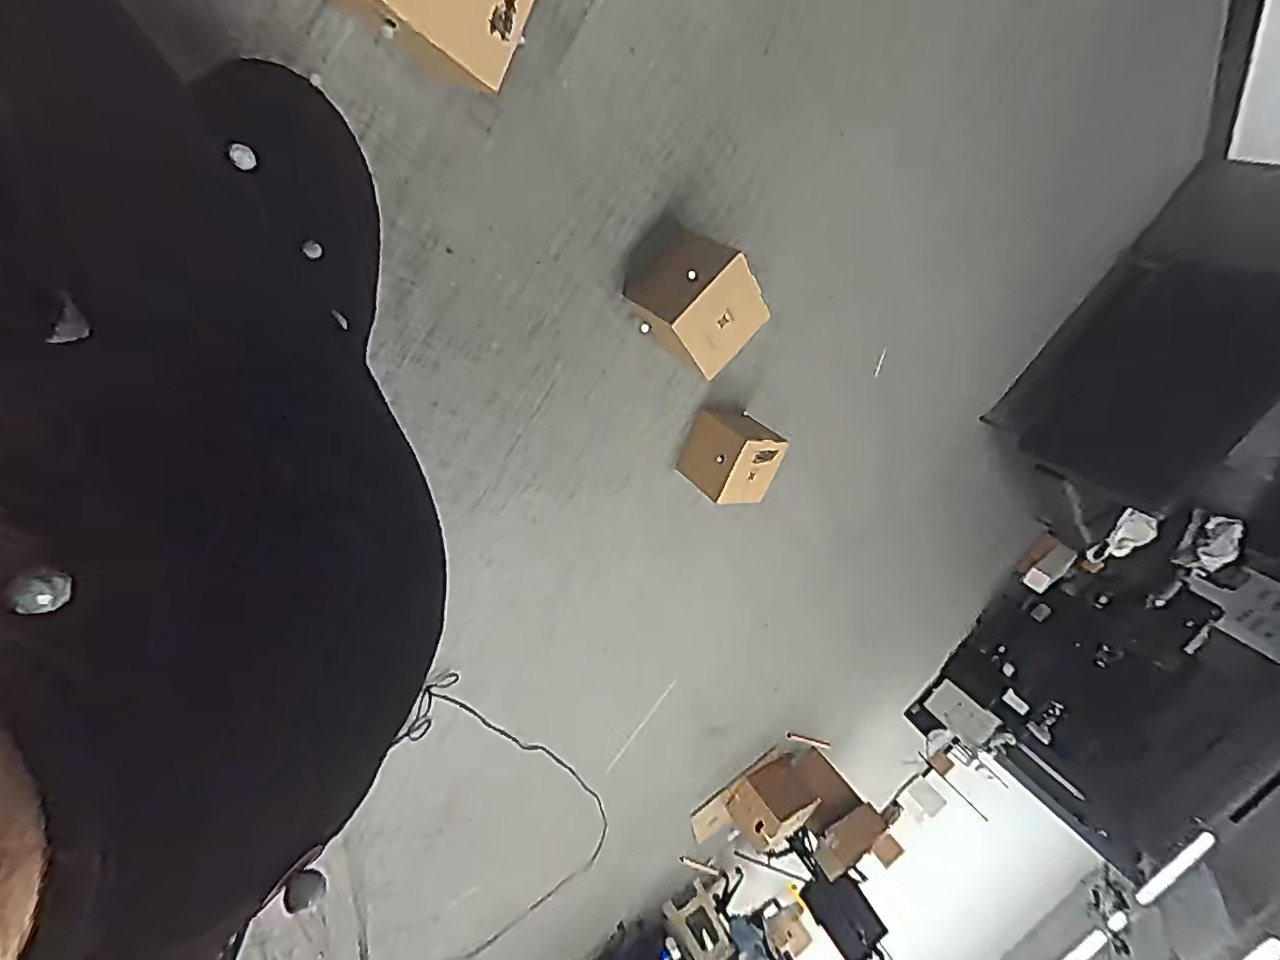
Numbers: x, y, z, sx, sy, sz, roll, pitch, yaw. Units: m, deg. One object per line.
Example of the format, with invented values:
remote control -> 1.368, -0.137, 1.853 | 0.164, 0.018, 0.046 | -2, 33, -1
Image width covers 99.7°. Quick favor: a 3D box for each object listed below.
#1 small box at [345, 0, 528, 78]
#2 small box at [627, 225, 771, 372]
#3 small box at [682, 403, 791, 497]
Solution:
small box -> -0.221, -0.557, 0.561 | 0.179, 0.176, 0.168 | 13, 113, -44
small box -> 0.108, -0.343, 1.014 | 0.179, 0.176, 0.168 | -47, 139, 1
small box -> 0.230, -0.077, 1.332 | 0.168, 0.176, 0.179 | -1, 123, -39
